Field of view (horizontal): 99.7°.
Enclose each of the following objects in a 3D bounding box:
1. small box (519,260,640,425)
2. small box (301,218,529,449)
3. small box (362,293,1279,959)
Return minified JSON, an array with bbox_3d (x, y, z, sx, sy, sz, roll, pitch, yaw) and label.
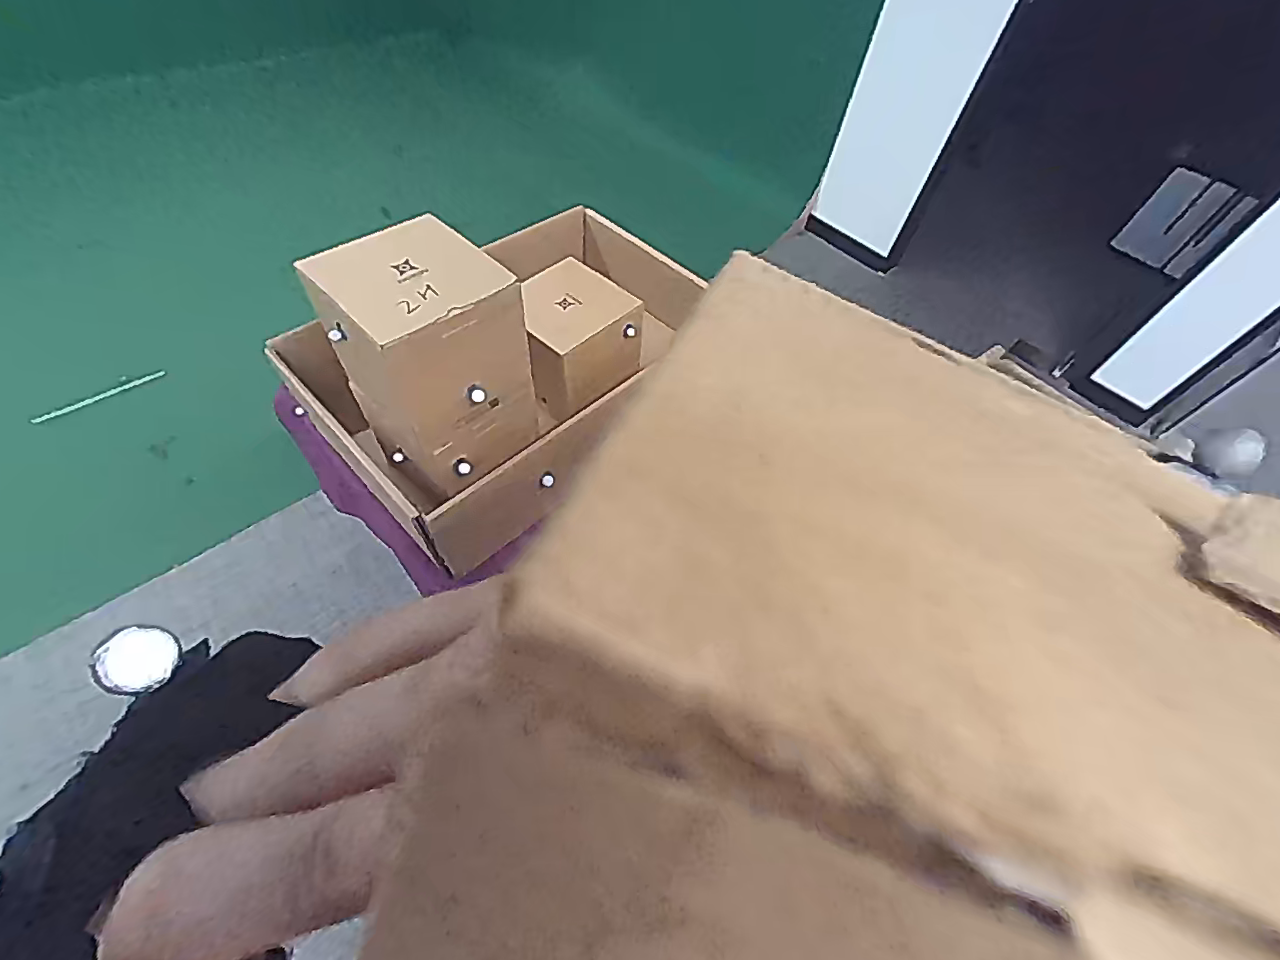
[{"bbox_3d":[-0.117,-0.223,0.895,0.168,0.176,0.179,38,60,20],"label":"small box"},{"bbox_3d":[-0.252,-0.170,0.641,0.168,0.176,0.179,-38,66,-26],"label":"small box"},{"bbox_3d":[0.051,0.072,0.140,0.168,0.179,0.176,26,31,1],"label":"small box"}]
